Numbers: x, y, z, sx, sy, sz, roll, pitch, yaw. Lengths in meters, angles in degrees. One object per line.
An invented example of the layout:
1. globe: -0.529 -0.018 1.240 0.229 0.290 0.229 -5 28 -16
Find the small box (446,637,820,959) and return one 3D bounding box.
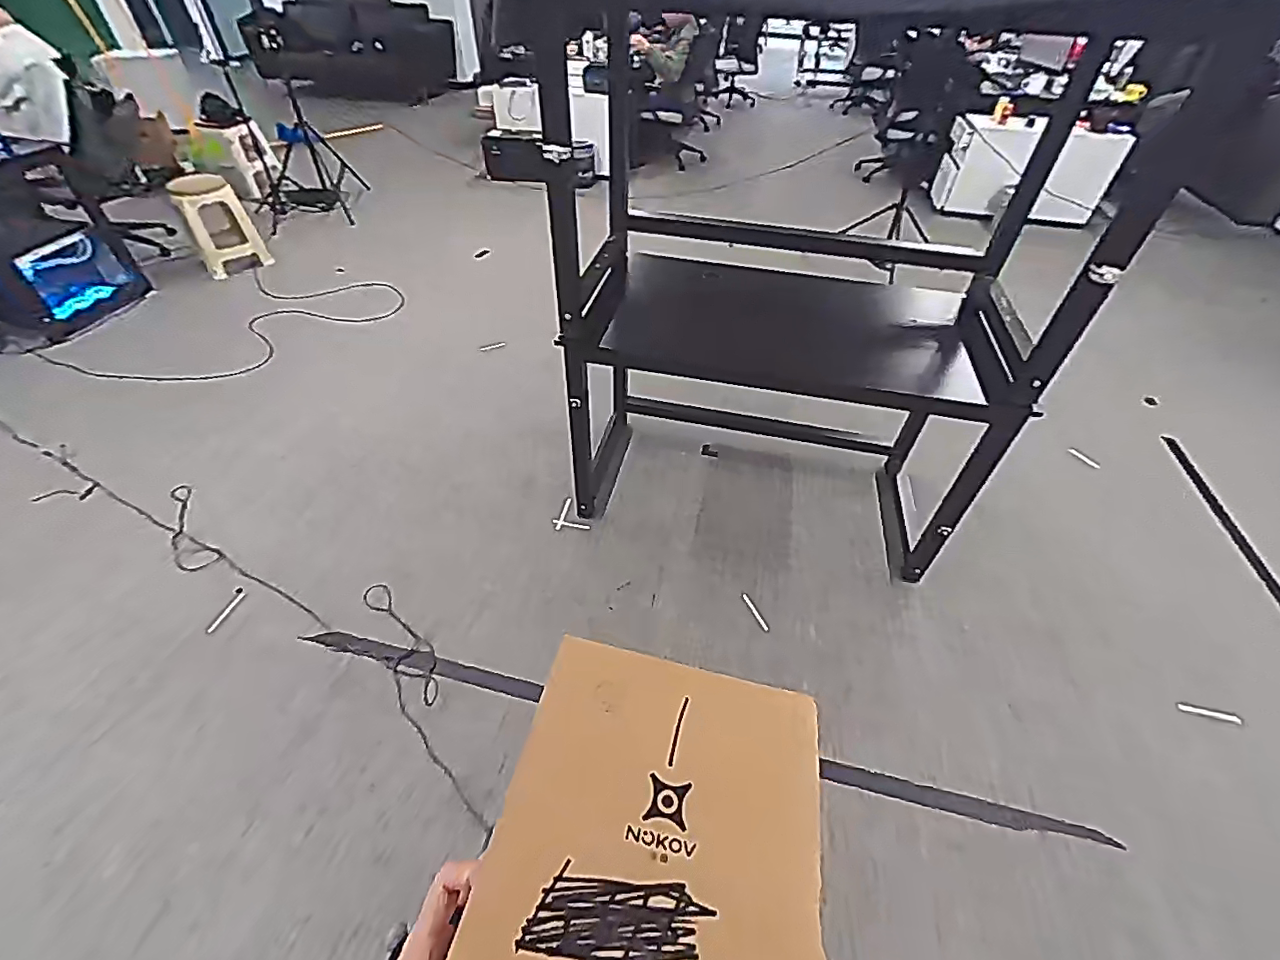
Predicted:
1. small box: 0.005 0.233 0.337 0.168 0.176 0.179 13 44 5
